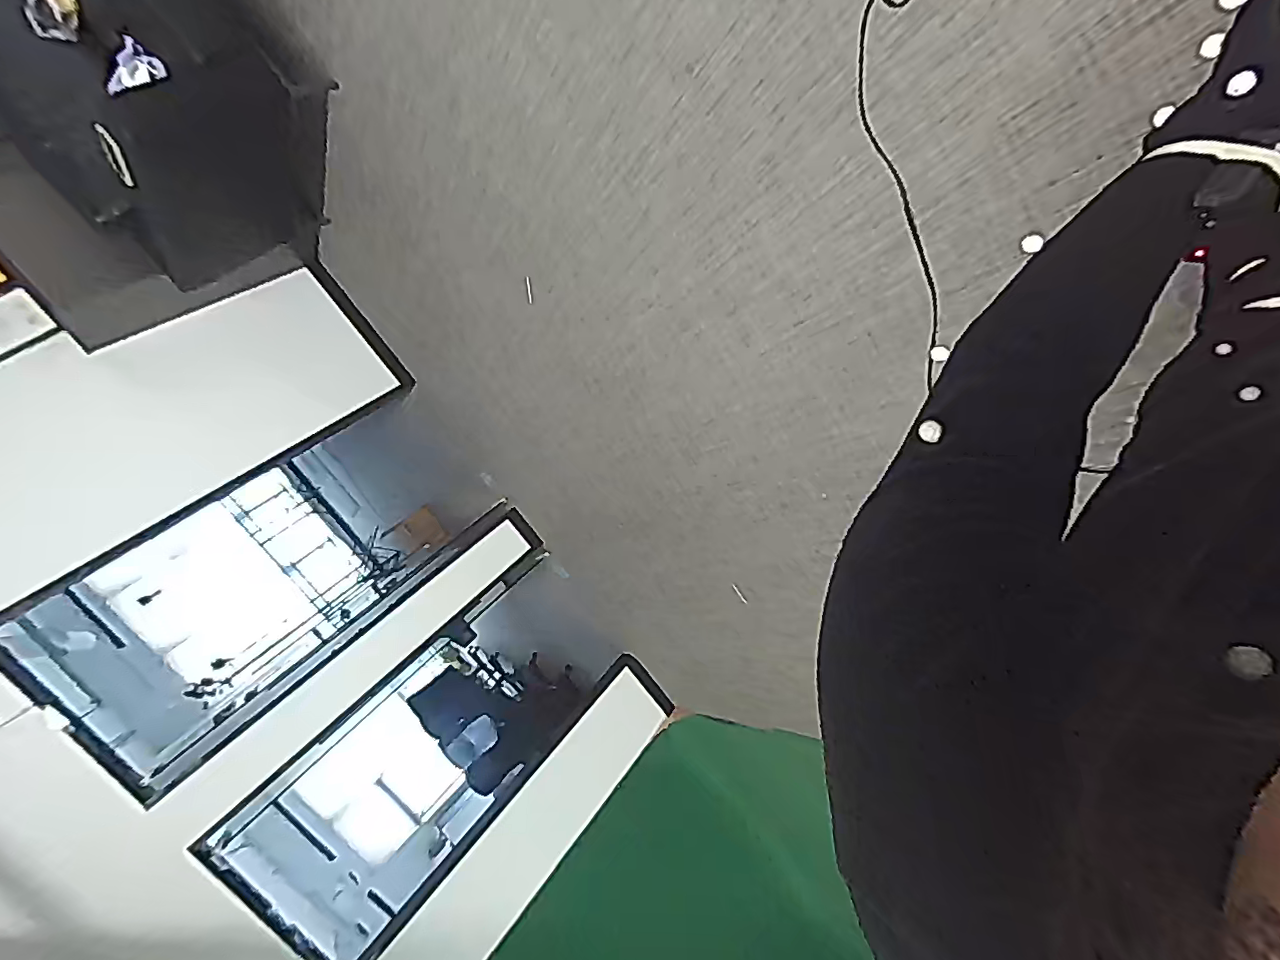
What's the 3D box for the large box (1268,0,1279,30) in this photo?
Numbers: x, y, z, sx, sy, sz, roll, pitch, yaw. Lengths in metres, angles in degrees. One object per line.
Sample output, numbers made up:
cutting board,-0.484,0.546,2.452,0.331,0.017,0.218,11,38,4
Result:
large box,0.764,-0.544,0.349,0.408,0.320,0.320,21,141,35
